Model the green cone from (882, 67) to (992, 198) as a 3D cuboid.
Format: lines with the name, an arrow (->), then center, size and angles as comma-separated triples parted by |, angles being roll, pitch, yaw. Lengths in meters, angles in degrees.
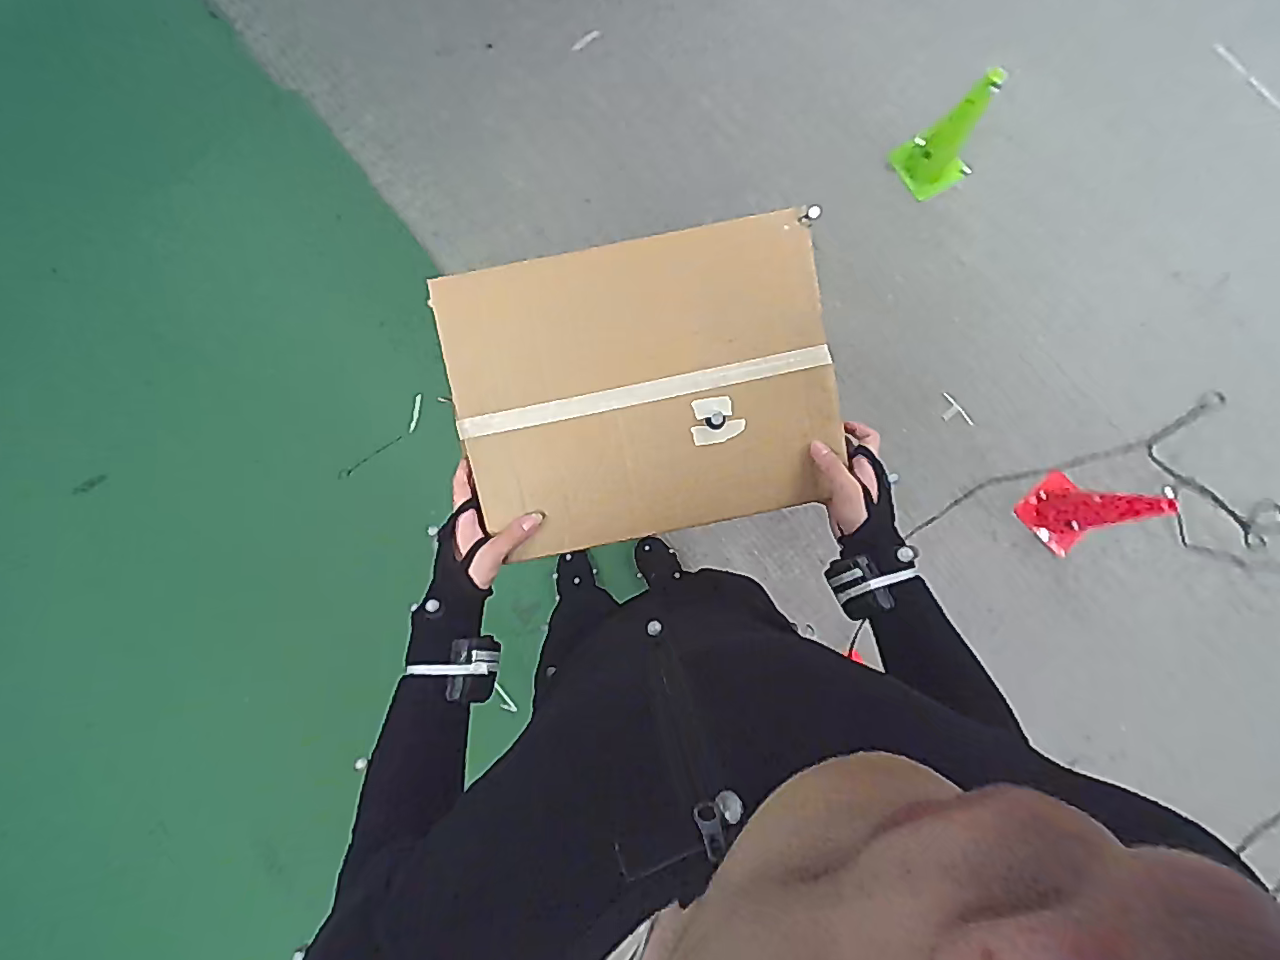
green cone -> 0.924, -1.068, 1.613 | 0.202, 0.368, 0.200 | -33, 84, -2

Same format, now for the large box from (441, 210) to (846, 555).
large box -> 0.003, -0.116, 0.737 | 0.408, 0.320, 0.320 | -11, 97, -1
